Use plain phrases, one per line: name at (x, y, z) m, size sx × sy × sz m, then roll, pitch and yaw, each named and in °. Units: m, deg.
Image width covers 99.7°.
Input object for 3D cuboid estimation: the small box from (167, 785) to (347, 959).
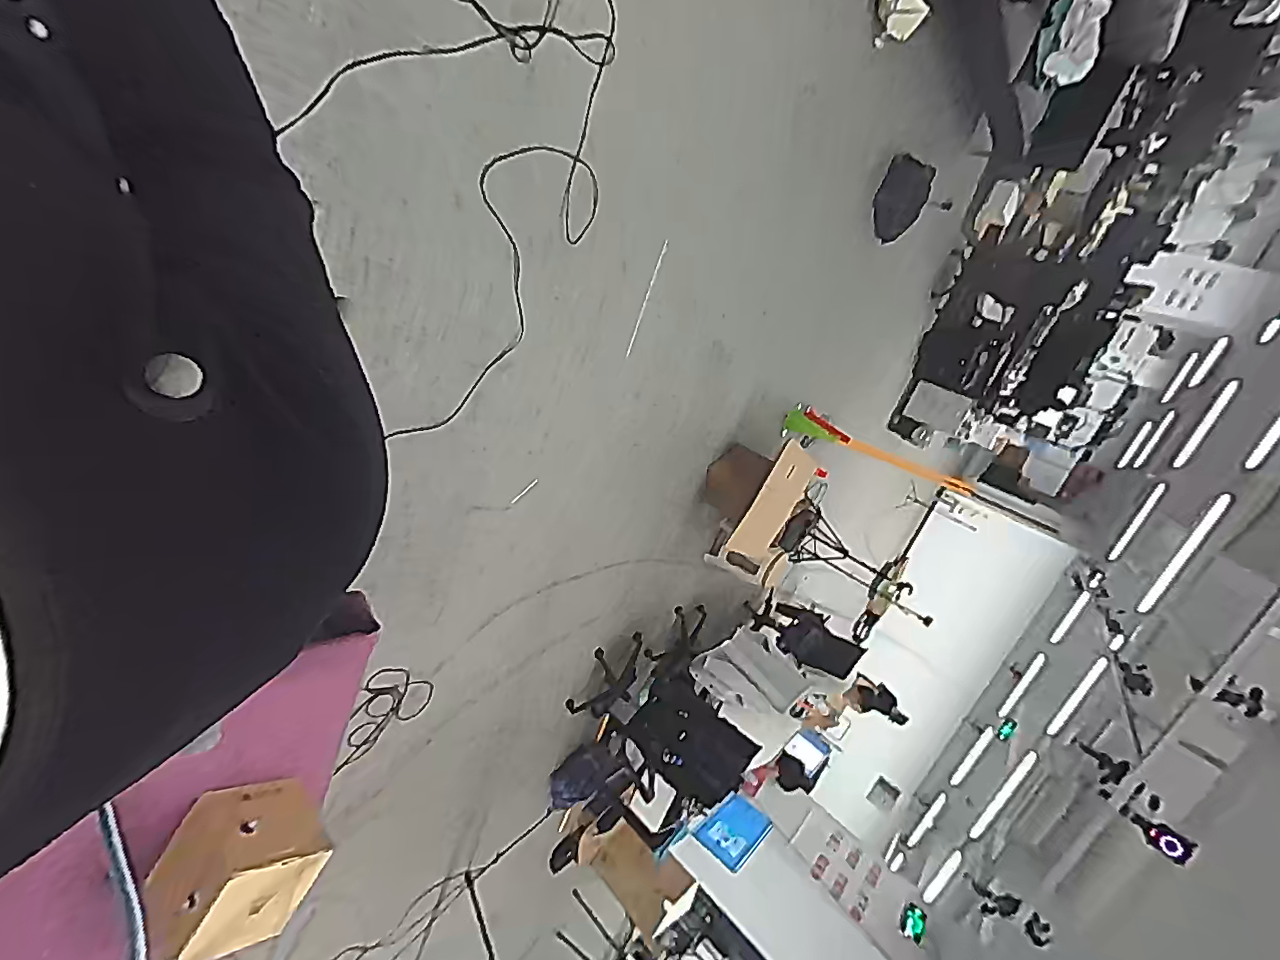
small box at (-0.641, 0.643, 0.903) m, size 0.179 × 0.176 × 0.168 m, roll -57°, pitch 147°, yaw 0°
